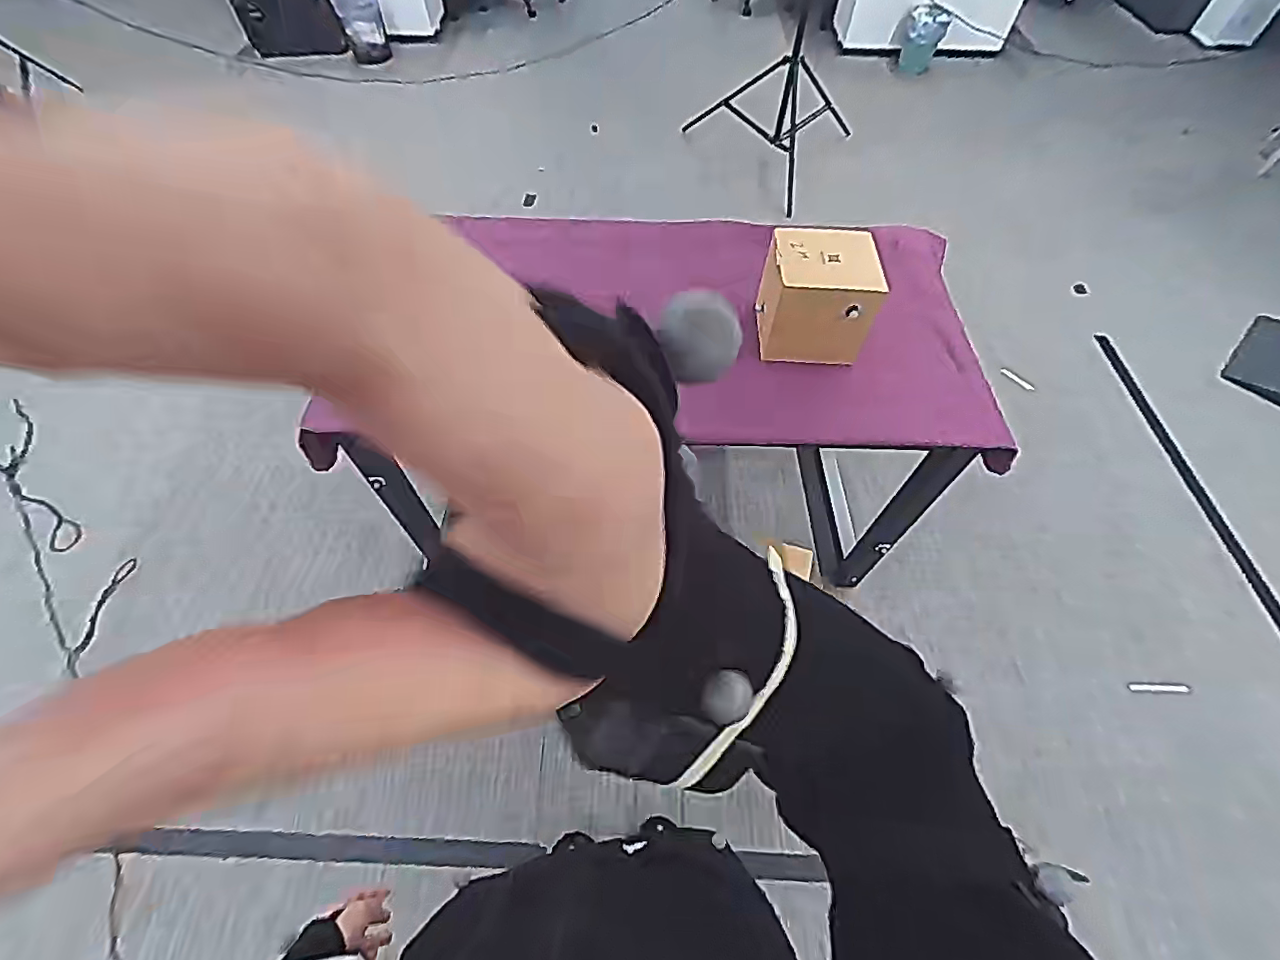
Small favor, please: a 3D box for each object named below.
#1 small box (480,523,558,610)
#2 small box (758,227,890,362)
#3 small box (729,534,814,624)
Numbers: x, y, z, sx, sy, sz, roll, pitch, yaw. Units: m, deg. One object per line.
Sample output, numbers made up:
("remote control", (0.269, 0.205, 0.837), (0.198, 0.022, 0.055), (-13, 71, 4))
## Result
("small box", (-0.320, 0.238, 1.474), (0.168, 0.176, 0.179), (3, 56, 1))
("small box", (0.321, -0.332, 0.983), (0.179, 0.176, 0.168), (3, 57, 1))
("small box", (0.352, 0.274, 1.464), (0.179, 0.176, 0.168), (15, 59, 10))
